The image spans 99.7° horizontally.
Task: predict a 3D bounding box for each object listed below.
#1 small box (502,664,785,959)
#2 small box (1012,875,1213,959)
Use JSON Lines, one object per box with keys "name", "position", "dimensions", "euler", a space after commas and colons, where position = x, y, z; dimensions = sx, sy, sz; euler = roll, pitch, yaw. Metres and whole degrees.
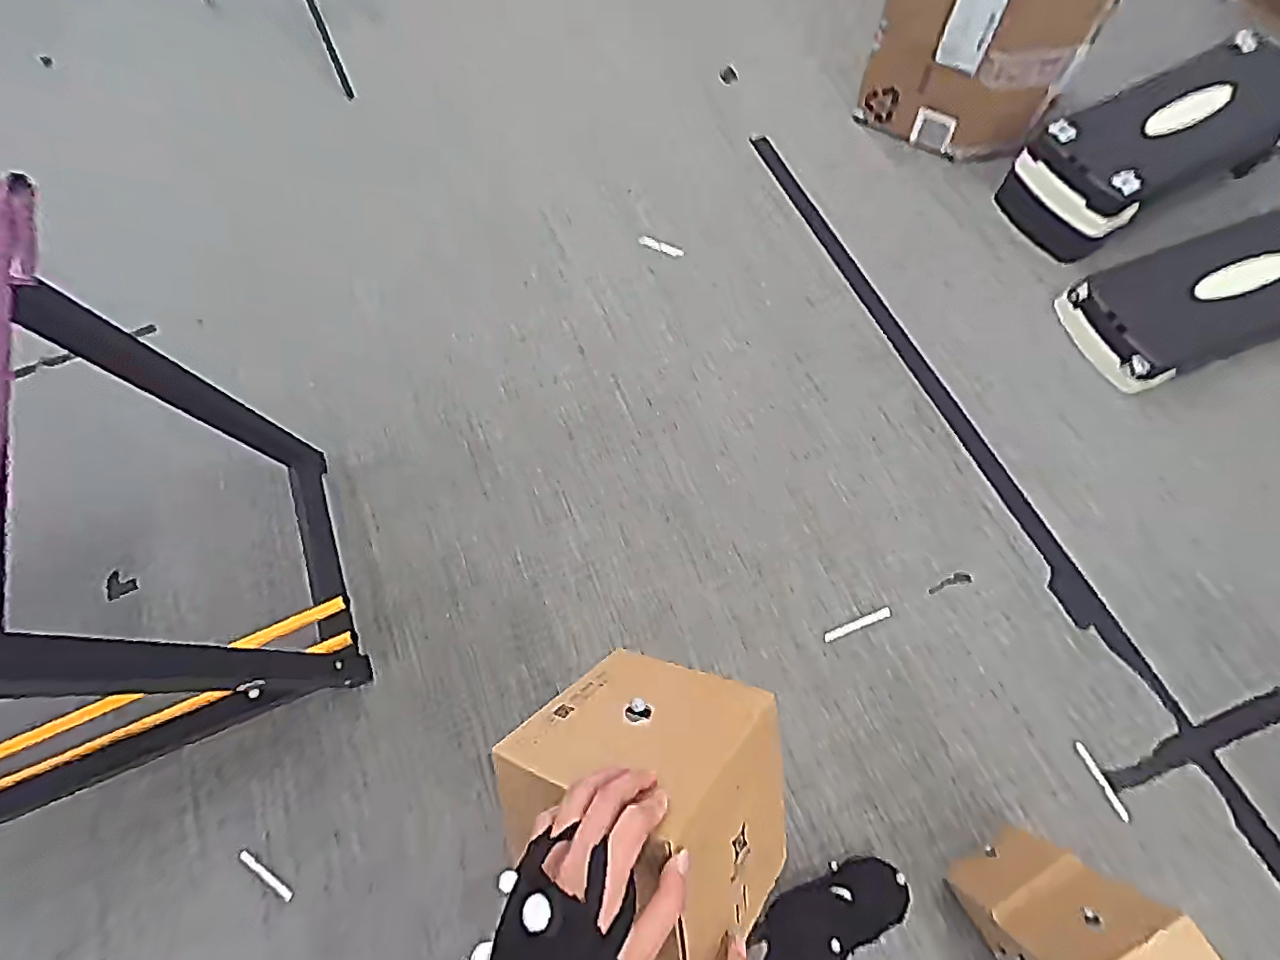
{"name": "small box", "position": [0.006, 0.273, 0.449], "dimensions": [0.176, 0.168, 0.179], "euler": [3, 106, 37]}
{"name": "small box", "position": [0.641, 0.674, 0.715], "dimensions": [0.179, 0.176, 0.168], "euler": [-27, 71, -6]}
